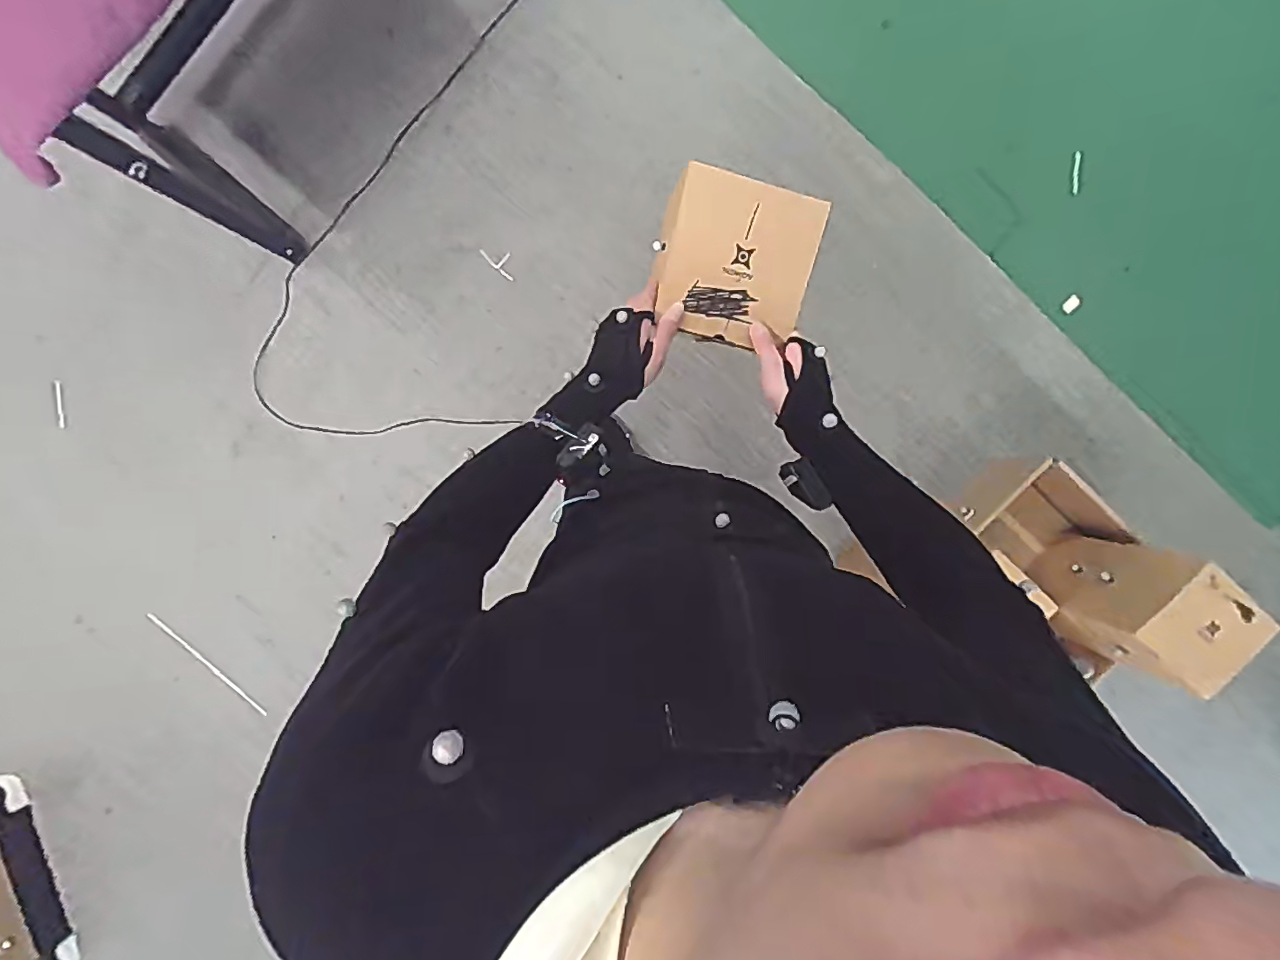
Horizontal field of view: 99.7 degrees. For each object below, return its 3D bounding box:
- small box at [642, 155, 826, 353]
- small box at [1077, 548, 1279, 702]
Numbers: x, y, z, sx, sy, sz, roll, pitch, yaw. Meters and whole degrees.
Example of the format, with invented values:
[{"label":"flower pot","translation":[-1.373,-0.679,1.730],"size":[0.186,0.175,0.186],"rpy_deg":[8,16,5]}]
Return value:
[{"label":"small box","translation":[0.102,-0.265,0.678],"size":[0.168,0.176,0.179],"rpy_deg":[12,102,-8]},{"label":"small box","translation":[0.938,0.247,0.963],"size":[0.168,0.176,0.179],"rpy_deg":[44,94,-1]}]
